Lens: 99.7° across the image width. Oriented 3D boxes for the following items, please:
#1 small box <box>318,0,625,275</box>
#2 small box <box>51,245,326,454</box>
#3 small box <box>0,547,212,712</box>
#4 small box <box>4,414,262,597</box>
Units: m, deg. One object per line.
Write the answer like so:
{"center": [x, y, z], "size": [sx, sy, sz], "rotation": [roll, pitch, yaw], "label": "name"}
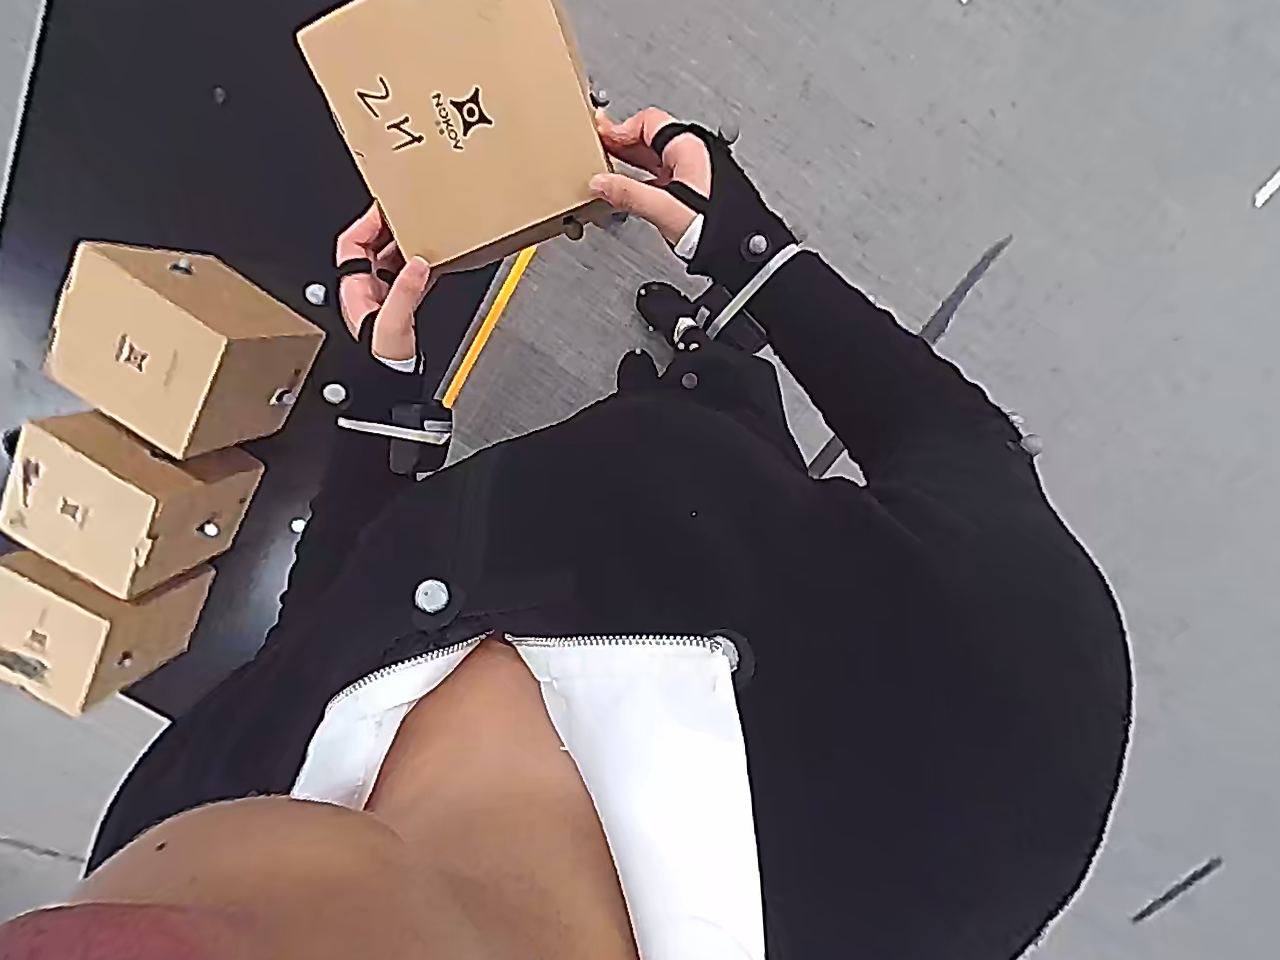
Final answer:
{"center": [-0.116, -0.290, 0.465], "size": [0.179, 0.176, 0.168], "rotation": [-16, 111, 10], "label": "small box"}
{"center": [-0.543, -0.160, 0.672], "size": [0.179, 0.176, 0.168], "rotation": [33, 108, -6], "label": "small box"}
{"center": [-0.784, 0.189, 0.792], "size": [0.168, 0.176, 0.179], "rotation": [31, 105, -4], "label": "small box"}
{"center": [-0.668, 0.018, 0.733], "size": [0.179, 0.176, 0.168], "rotation": [33, 107, -6], "label": "small box"}
